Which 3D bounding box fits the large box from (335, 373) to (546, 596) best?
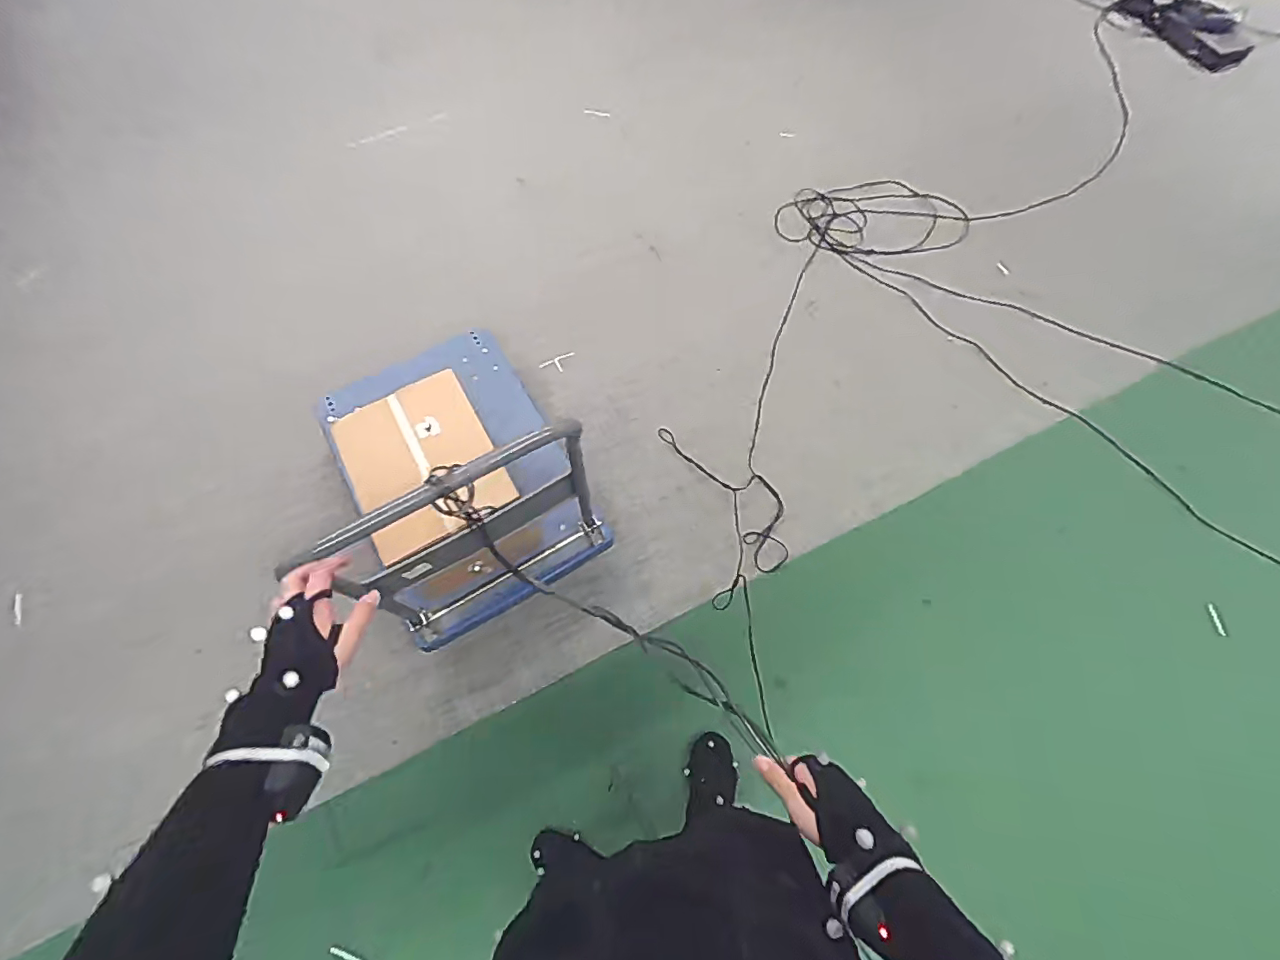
[{"bbox_3d":[-0.483,0.020,1.364,0.320,0.320,0.408,-28,67,-12],"label":"large box"}]
